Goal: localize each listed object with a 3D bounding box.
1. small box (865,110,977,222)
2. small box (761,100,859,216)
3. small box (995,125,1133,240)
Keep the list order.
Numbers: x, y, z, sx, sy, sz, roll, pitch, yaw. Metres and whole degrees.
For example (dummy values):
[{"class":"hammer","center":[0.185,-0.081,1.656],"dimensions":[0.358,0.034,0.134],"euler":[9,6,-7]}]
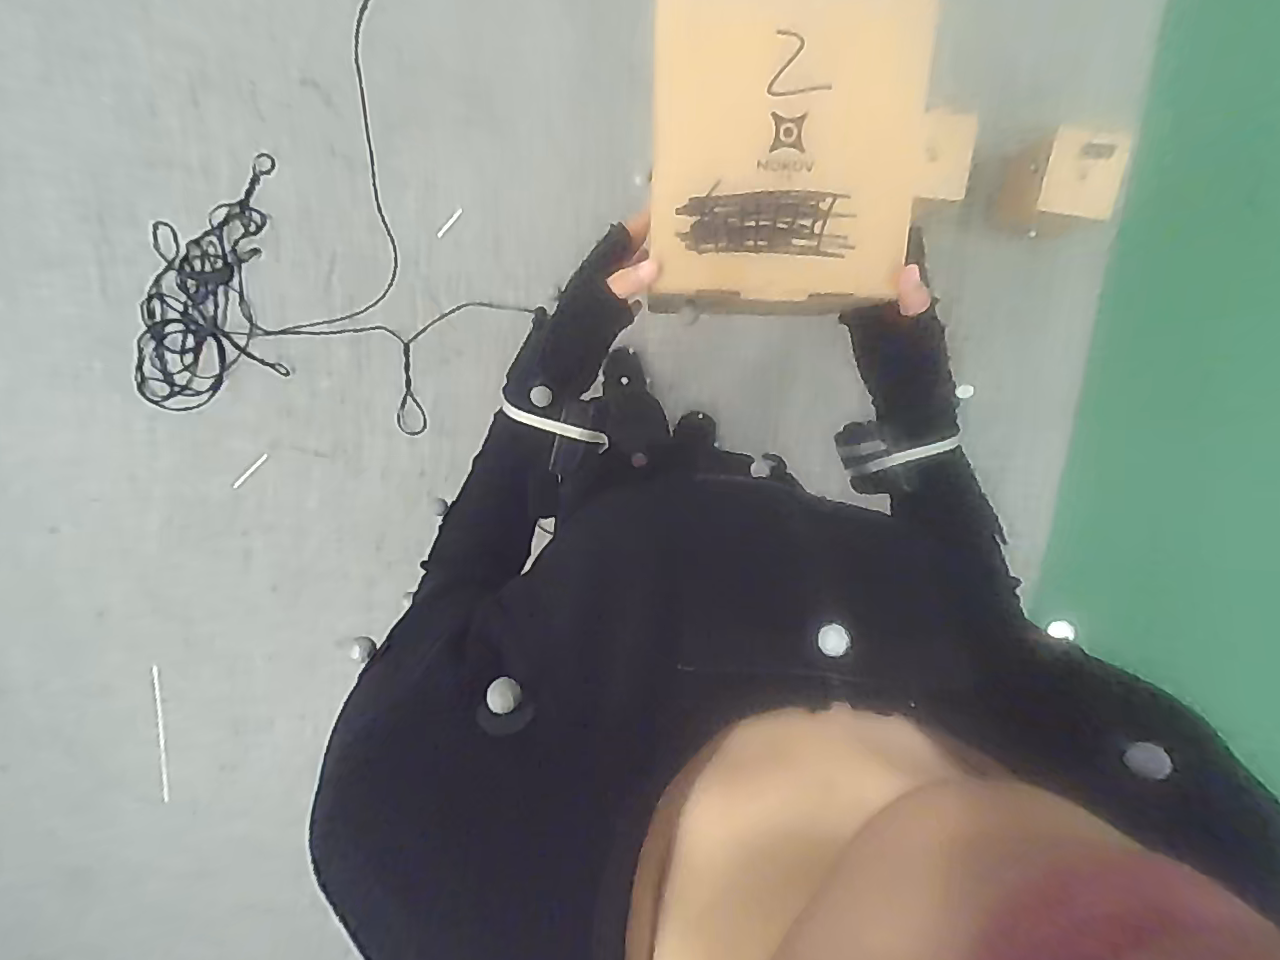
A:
[{"class":"small box","center":[0.640,-0.716,1.254],"dimensions":[0.168,0.176,0.179],"euler":[6,98,2]},{"class":"small box","center":[0.386,-0.738,1.255],"dimensions":[0.168,0.176,0.179],"euler":[6,100,2]},{"class":"small box","center":[0.964,-0.677,1.248],"dimensions":[0.168,0.176,0.179],"euler":[9,100,1]}]
